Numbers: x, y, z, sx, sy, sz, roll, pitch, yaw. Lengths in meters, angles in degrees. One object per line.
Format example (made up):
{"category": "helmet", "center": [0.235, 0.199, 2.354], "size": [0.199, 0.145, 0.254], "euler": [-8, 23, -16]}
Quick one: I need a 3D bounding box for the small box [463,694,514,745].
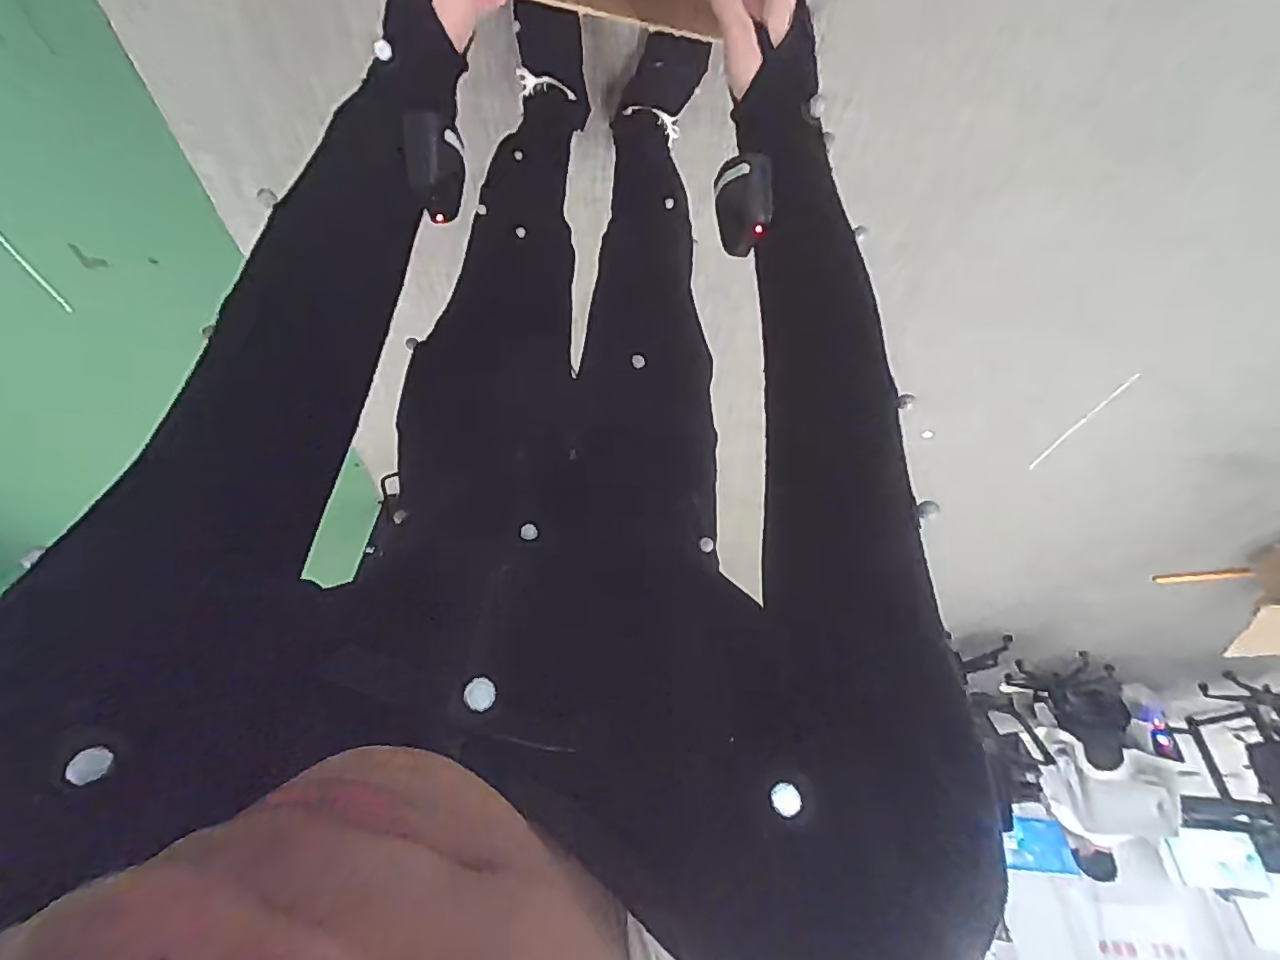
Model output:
{"category": "small box", "center": [-0.650, 1.037, 2.337], "size": [0.168, 0.176, 0.179], "euler": [5, 145, -2]}
